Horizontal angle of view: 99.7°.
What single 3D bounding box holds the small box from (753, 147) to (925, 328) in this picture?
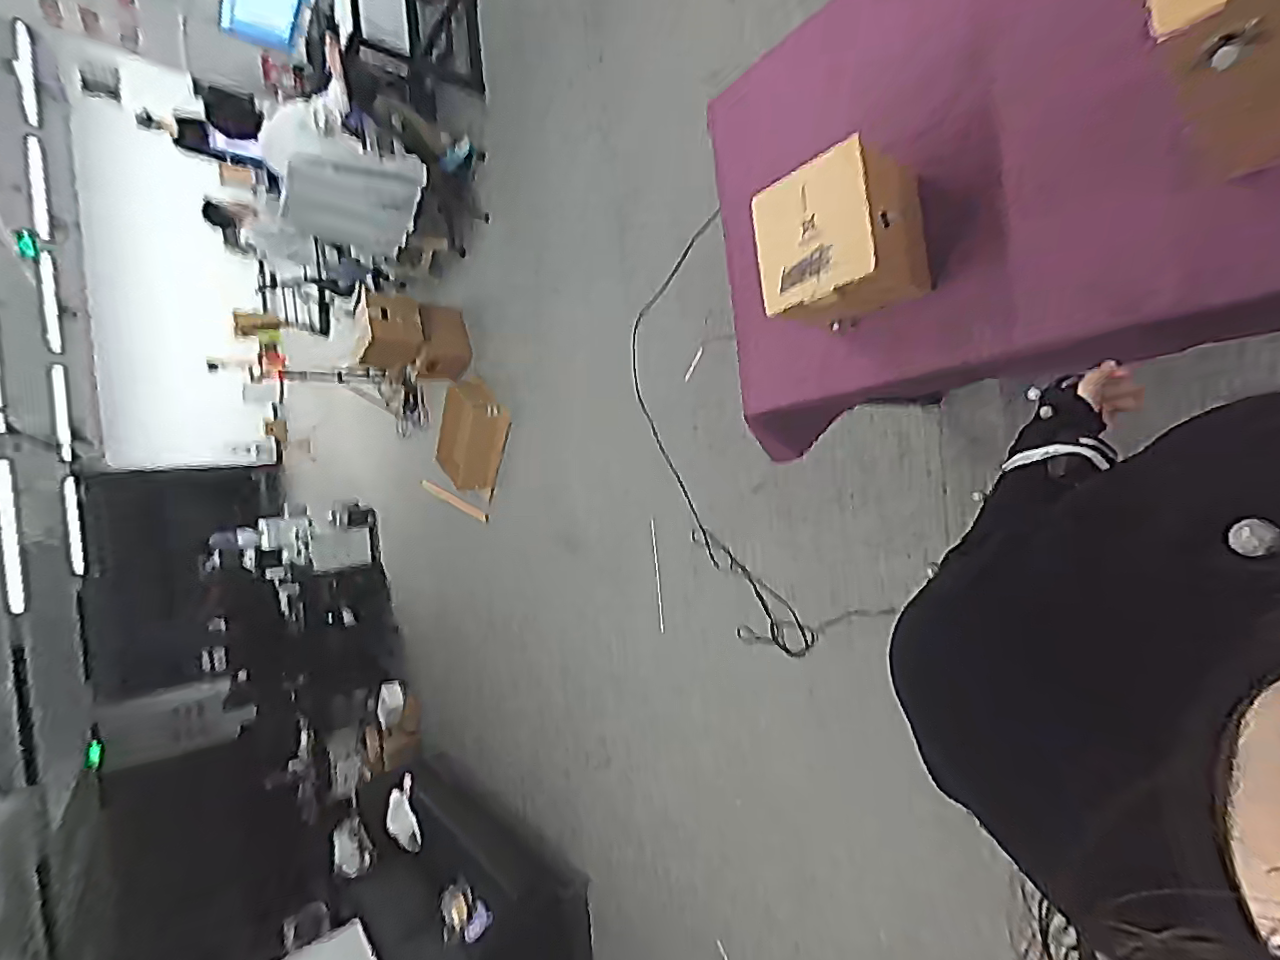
[{"bbox_3d":[0.289,-0.328,0.780,0.168,0.176,0.179,-10,86,49],"label":"small box"}]
